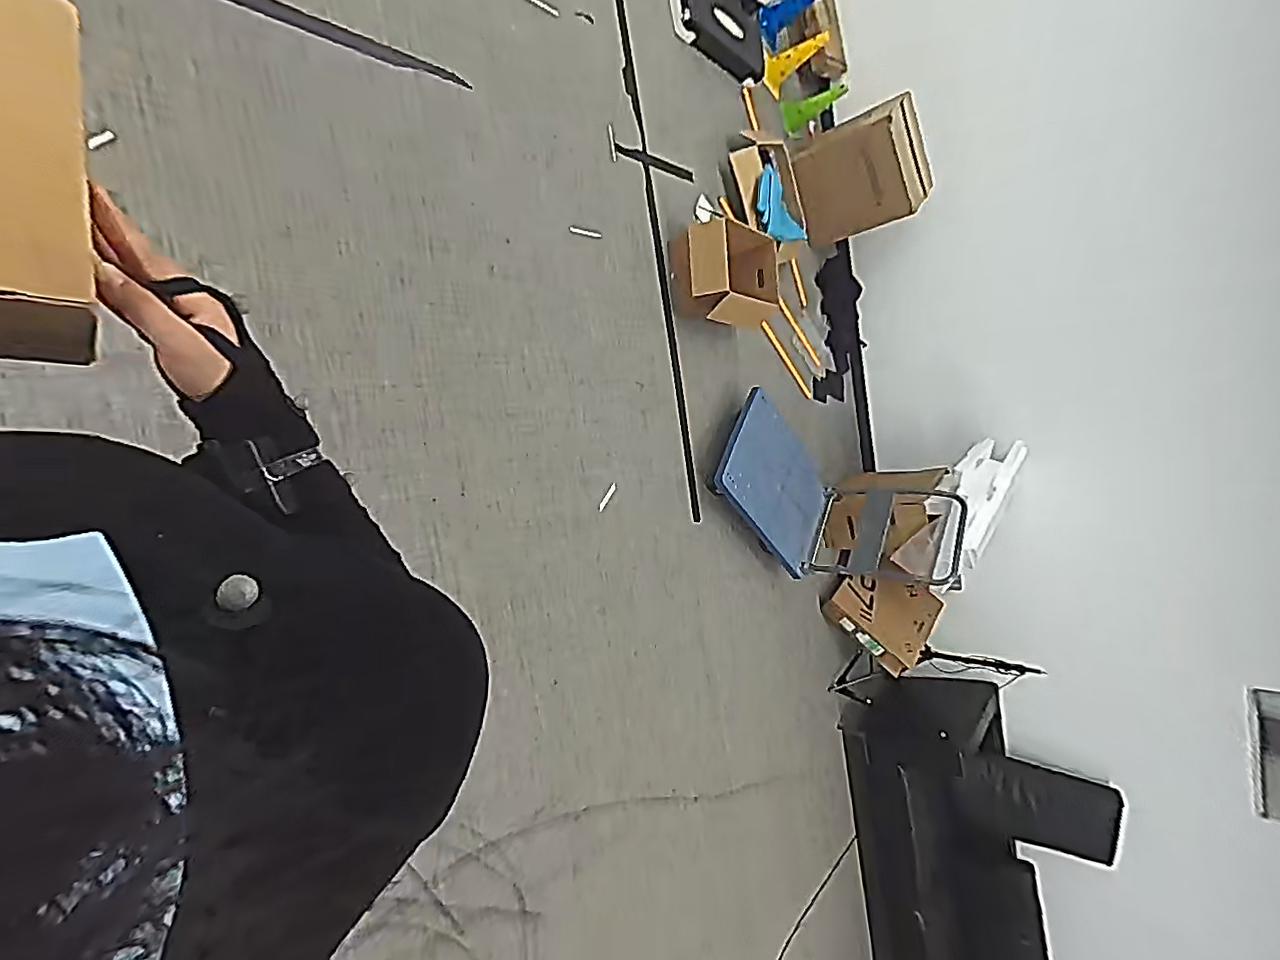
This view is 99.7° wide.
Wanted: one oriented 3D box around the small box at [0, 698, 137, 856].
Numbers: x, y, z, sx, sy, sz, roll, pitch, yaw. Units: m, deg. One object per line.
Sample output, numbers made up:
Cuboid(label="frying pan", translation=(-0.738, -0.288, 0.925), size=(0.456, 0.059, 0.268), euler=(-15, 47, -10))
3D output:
Cuboid(label="small box", translation=(-1.048, 0.516, 0.978), size=(0.168, 0.176, 0.179), euler=(-16, 99, -45))
